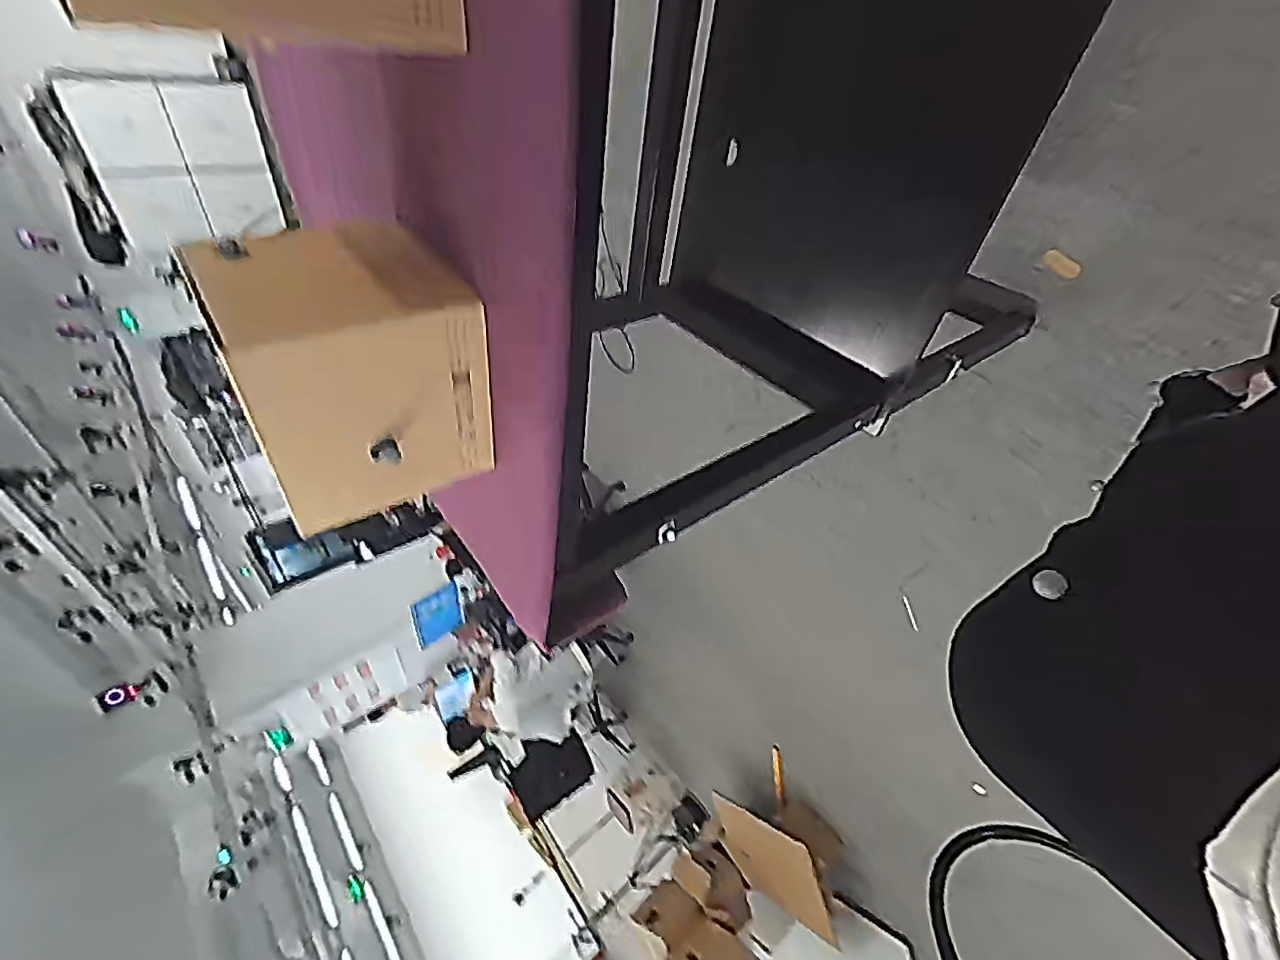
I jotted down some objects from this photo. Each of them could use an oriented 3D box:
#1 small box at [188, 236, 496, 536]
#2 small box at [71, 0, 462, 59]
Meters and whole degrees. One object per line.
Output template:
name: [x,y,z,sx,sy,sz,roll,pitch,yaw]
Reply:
small box: [-0.232,-0.091,0.457,0.179,0.176,0.168,44,143,32]
small box: [-0.194,-0.314,0.246,0.168,0.176,0.179,43,143,32]
